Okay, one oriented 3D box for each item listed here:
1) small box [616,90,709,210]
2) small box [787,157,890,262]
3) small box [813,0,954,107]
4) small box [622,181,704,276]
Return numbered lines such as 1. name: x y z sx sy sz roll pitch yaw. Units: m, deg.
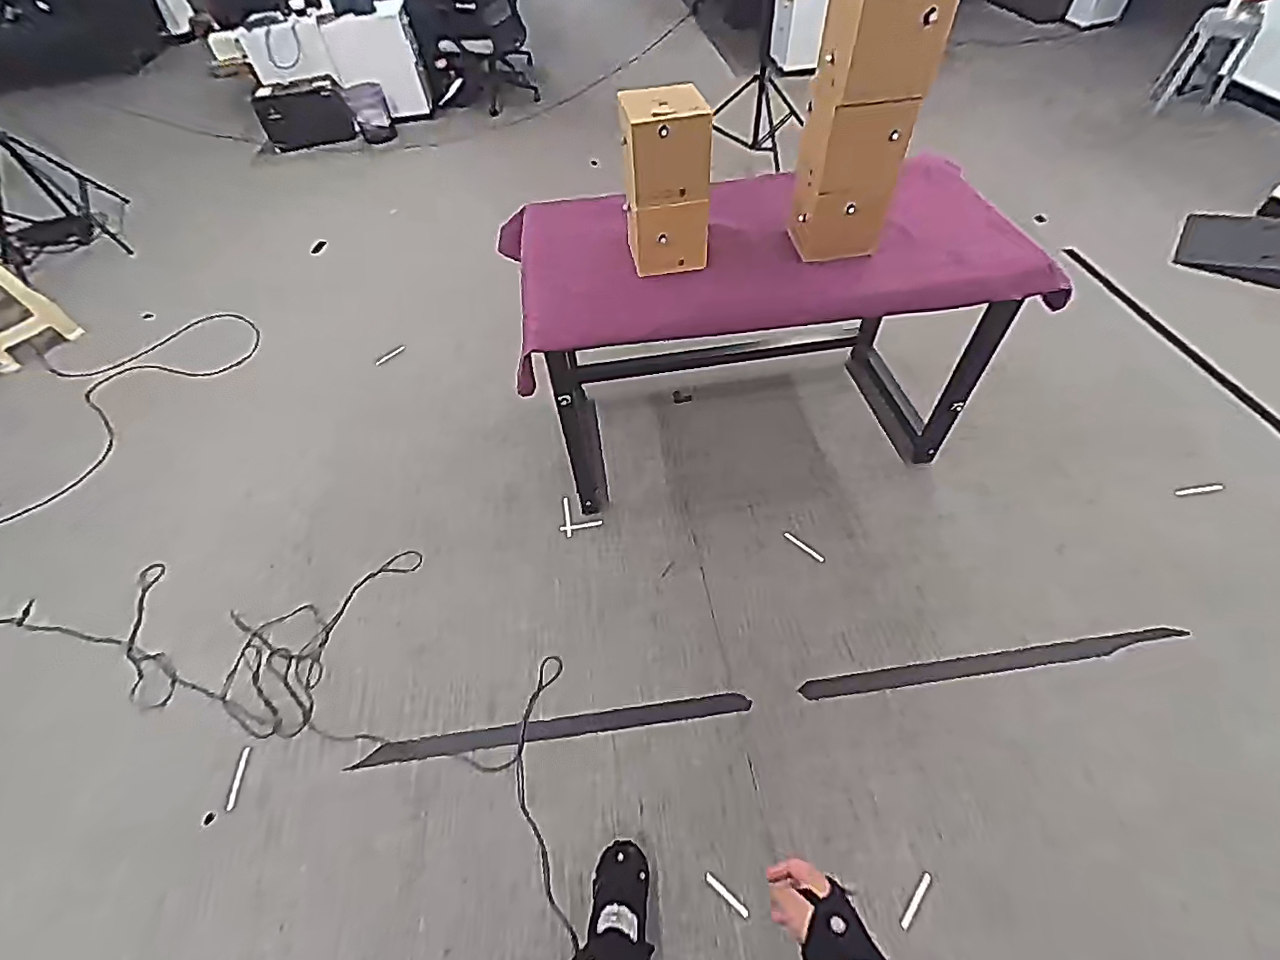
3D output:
1. small box: 0.046 -0.711 1.168 0.168 0.176 0.179 -11 51 -3
2. small box: 0.459 -0.639 1.288 0.179 0.176 0.168 -7 53 -2
3. small box: 0.449 -0.837 1.024 0.179 0.176 0.168 -8 52 -1
4. small box: 0.056 -0.606 1.293 0.168 0.176 0.179 -10 52 -3
